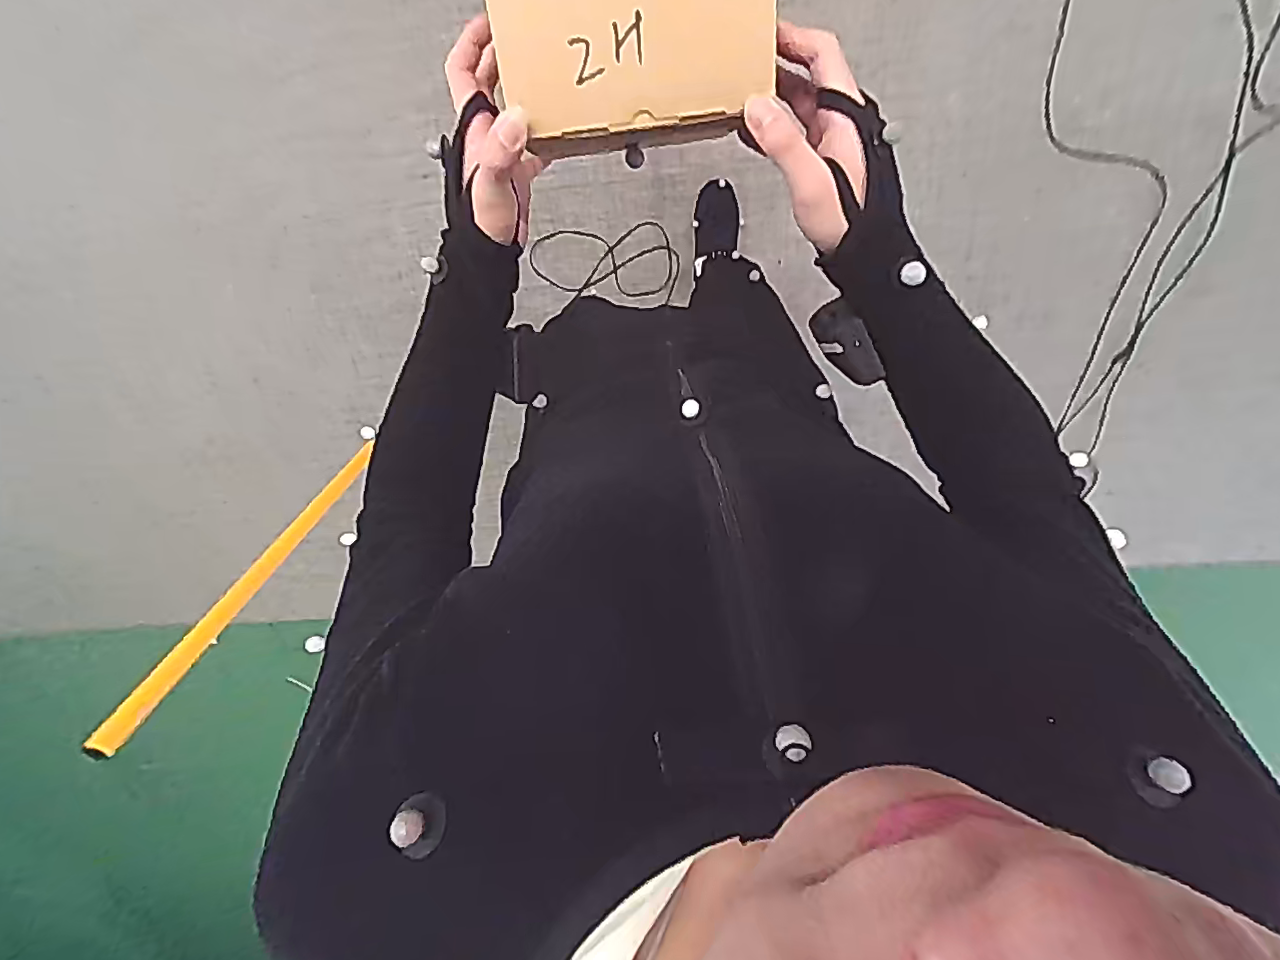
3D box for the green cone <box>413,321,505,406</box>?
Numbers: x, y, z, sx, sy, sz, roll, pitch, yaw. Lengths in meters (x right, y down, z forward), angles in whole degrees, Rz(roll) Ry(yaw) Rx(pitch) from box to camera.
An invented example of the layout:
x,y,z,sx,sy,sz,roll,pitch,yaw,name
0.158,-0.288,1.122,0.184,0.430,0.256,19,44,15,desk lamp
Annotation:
x,y,z,sx,sy,sz,roll,pitch,yaw,name
-0.494,-0.262,1.371,0.202,0.368,0.200,-4,118,2,green cone
